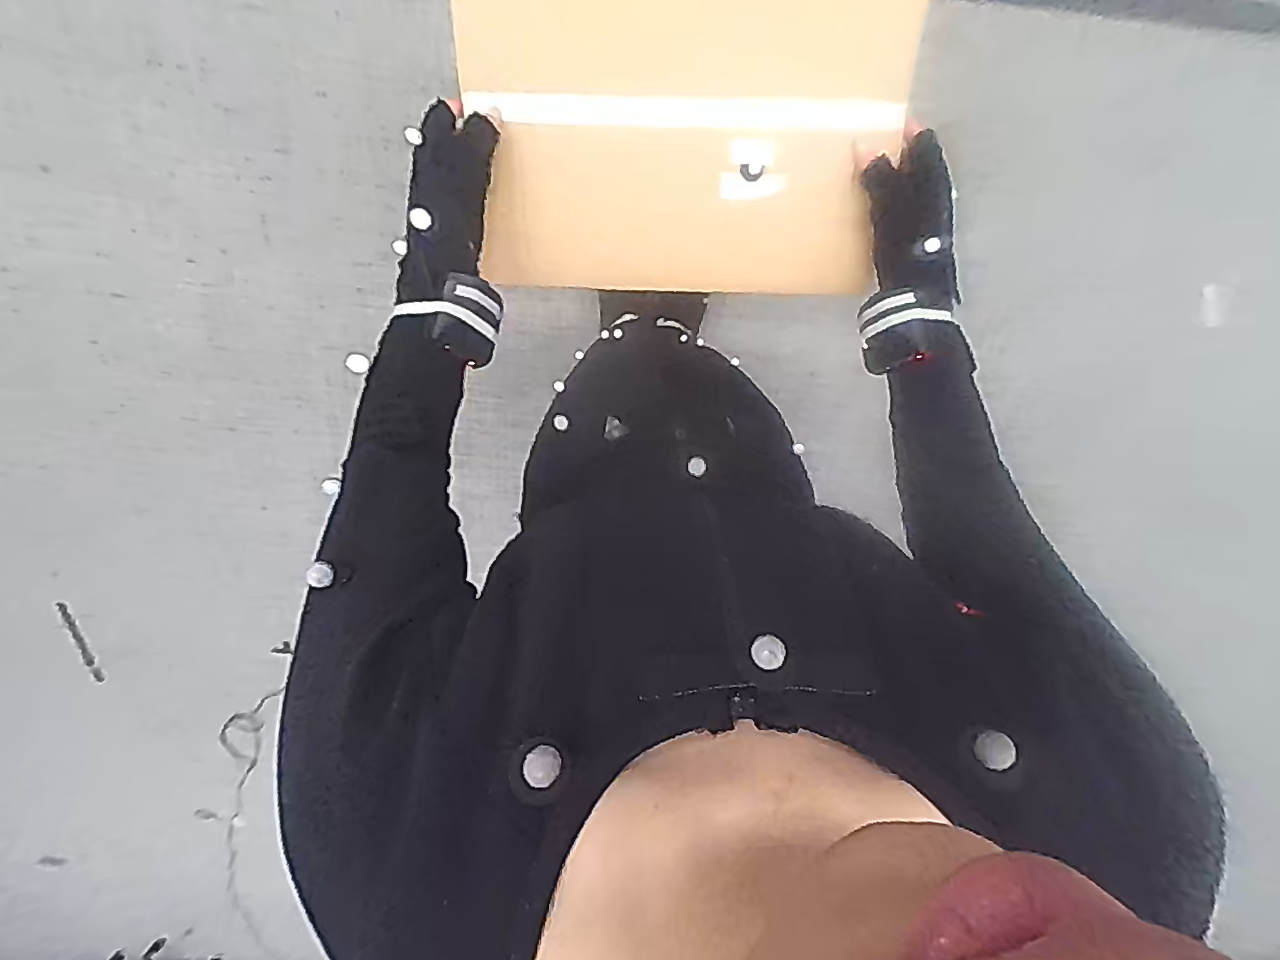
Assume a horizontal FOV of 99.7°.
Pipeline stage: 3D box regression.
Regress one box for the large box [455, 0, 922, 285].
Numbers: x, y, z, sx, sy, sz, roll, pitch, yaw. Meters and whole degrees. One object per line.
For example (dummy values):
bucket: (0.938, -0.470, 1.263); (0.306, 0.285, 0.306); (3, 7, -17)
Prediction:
large box: (0.039, -0.407, 0.625); (0.408, 0.320, 0.320); (1, 117, -1)
